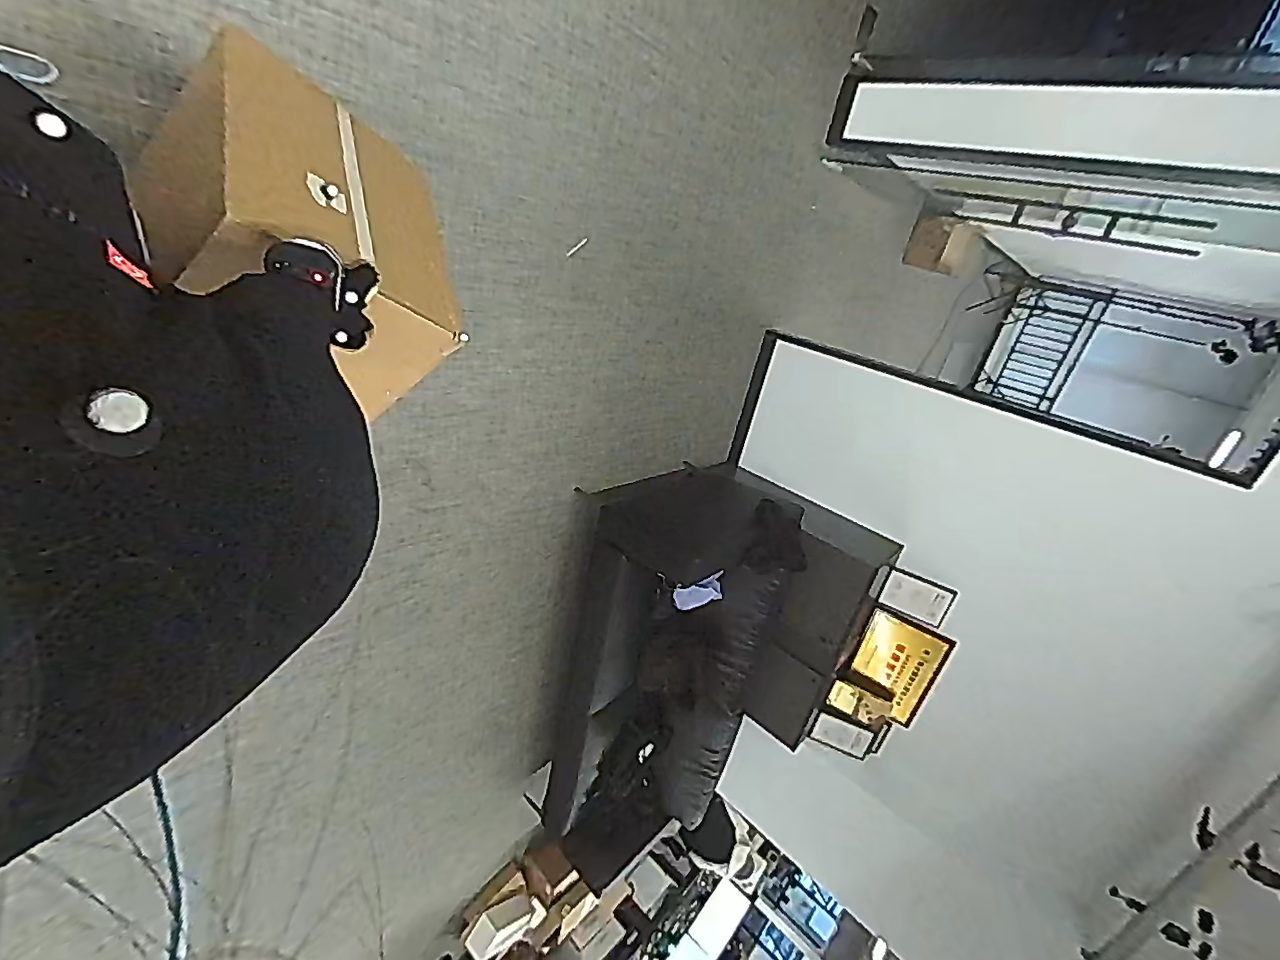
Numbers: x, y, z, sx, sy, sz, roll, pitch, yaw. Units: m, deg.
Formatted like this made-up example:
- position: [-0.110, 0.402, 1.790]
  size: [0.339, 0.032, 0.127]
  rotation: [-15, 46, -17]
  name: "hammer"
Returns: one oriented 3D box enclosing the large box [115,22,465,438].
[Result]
- position: [-0.522, -0.337, 0.817]
  size: [0.320, 0.408, 0.320]
  rotation: [-30, 155, 23]
  name: "large box"
